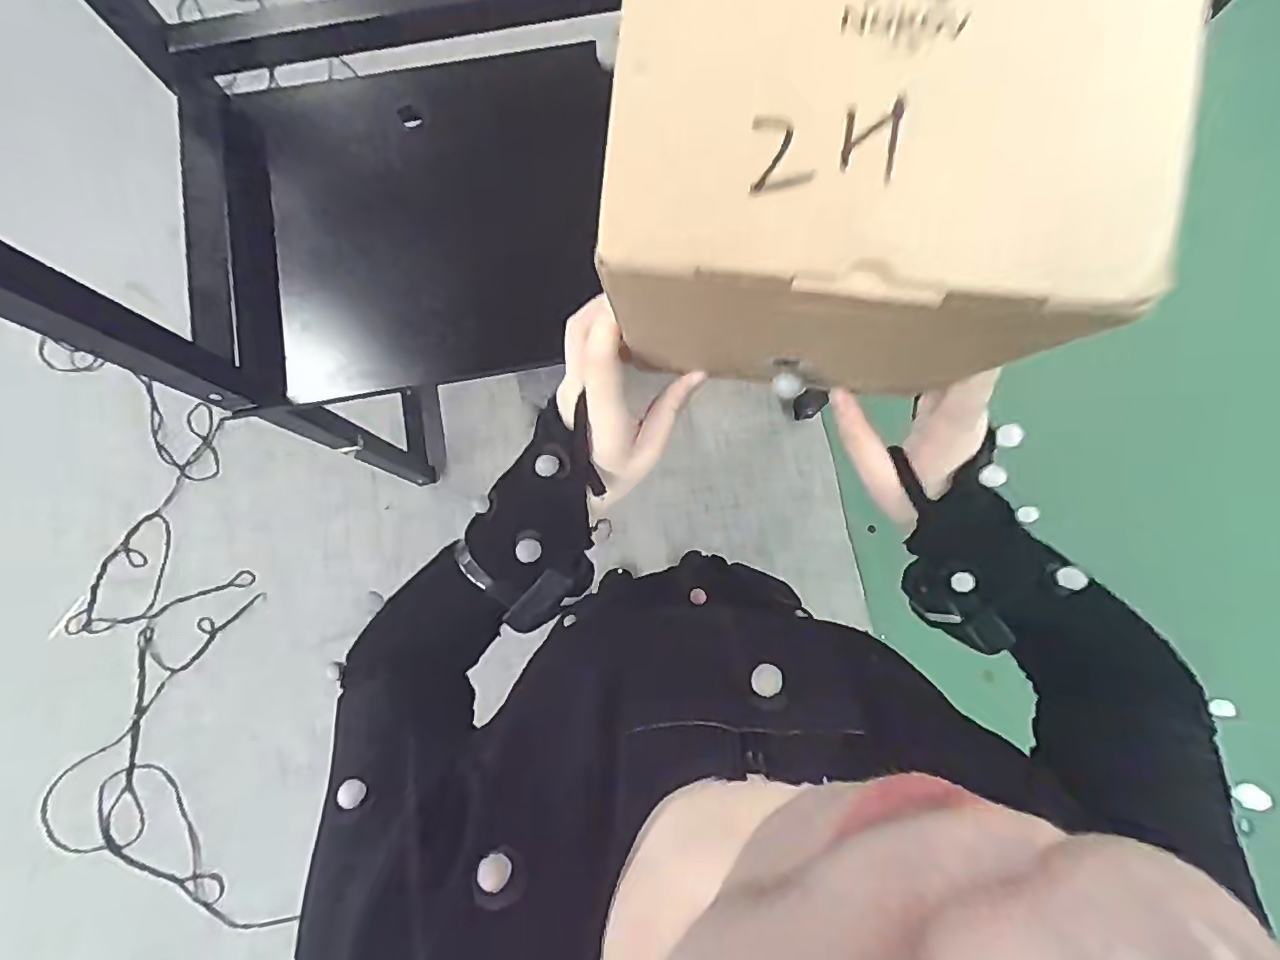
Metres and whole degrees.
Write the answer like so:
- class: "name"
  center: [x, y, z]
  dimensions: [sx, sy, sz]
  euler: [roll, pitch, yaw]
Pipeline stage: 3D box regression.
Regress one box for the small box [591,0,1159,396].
- class: "small box"
  center: [0.081, -0.145, 0.250]
  dimensions: [0.168, 0.176, 0.179]
  euler: [7, 91, 5]
